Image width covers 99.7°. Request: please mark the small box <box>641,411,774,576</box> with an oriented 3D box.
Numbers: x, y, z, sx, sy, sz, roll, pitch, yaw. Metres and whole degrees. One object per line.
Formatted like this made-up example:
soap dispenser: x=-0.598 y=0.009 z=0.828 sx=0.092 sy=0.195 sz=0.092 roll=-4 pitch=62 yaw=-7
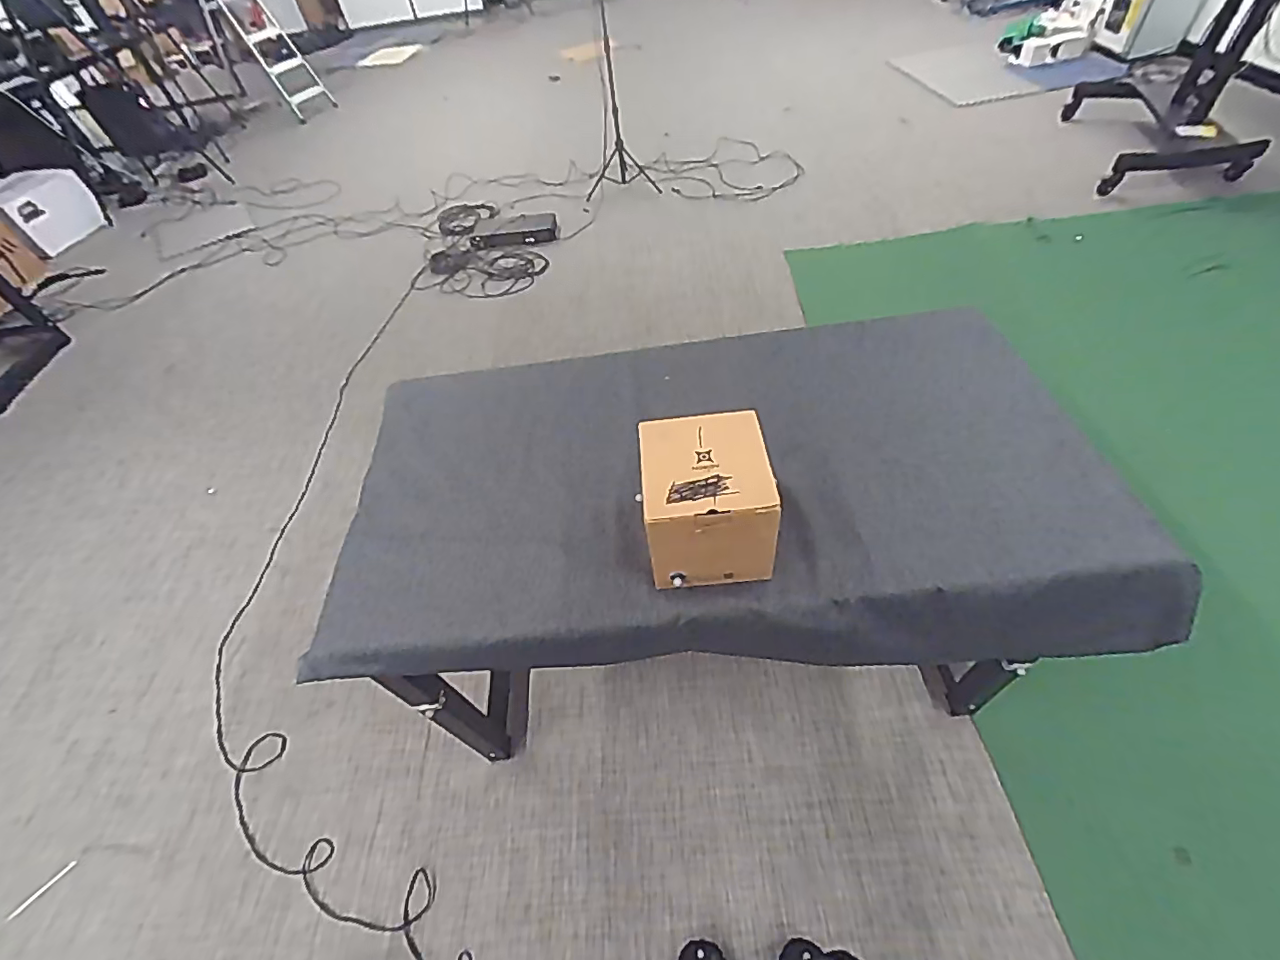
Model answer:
small box: x=0.093 y=0.027 z=0.781 sx=0.168 sy=0.176 sz=0.179 roll=-5 pitch=49 yaw=3
